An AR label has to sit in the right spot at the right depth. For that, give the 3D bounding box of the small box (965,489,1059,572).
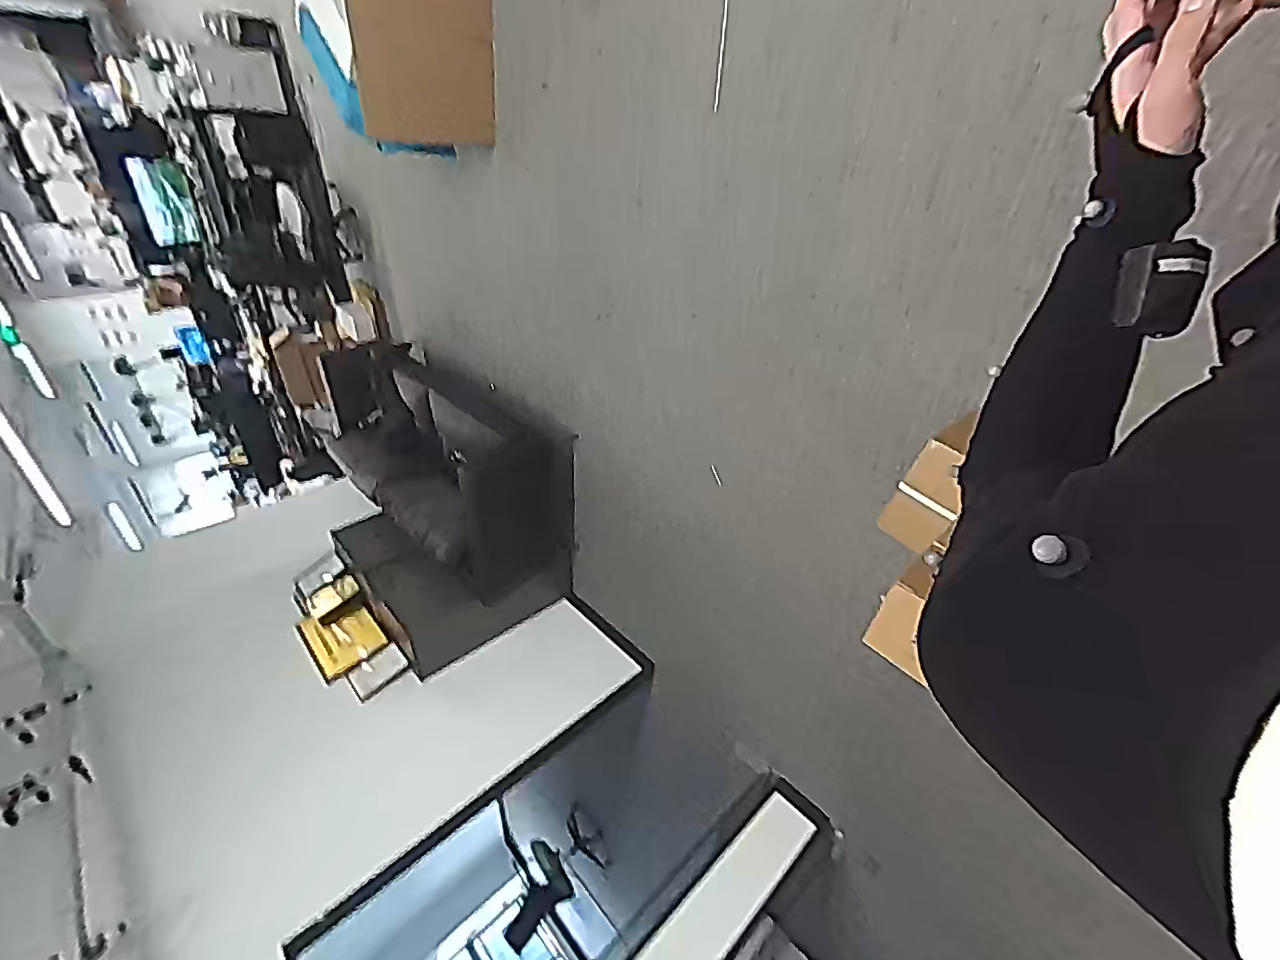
[{"bbox_3d":[0.802,0.145,1.217,0.168,0.176,0.179,37,134,32],"label":"small box"}]

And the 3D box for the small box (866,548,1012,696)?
[{"bbox_3d":[0.567,0.259,1.023,0.168,0.176,0.179,36,136,33],"label":"small box"}]

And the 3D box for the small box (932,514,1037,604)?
[{"bbox_3d":[0.683,0.198,1.119,0.168,0.176,0.179,36,135,32],"label":"small box"}]
